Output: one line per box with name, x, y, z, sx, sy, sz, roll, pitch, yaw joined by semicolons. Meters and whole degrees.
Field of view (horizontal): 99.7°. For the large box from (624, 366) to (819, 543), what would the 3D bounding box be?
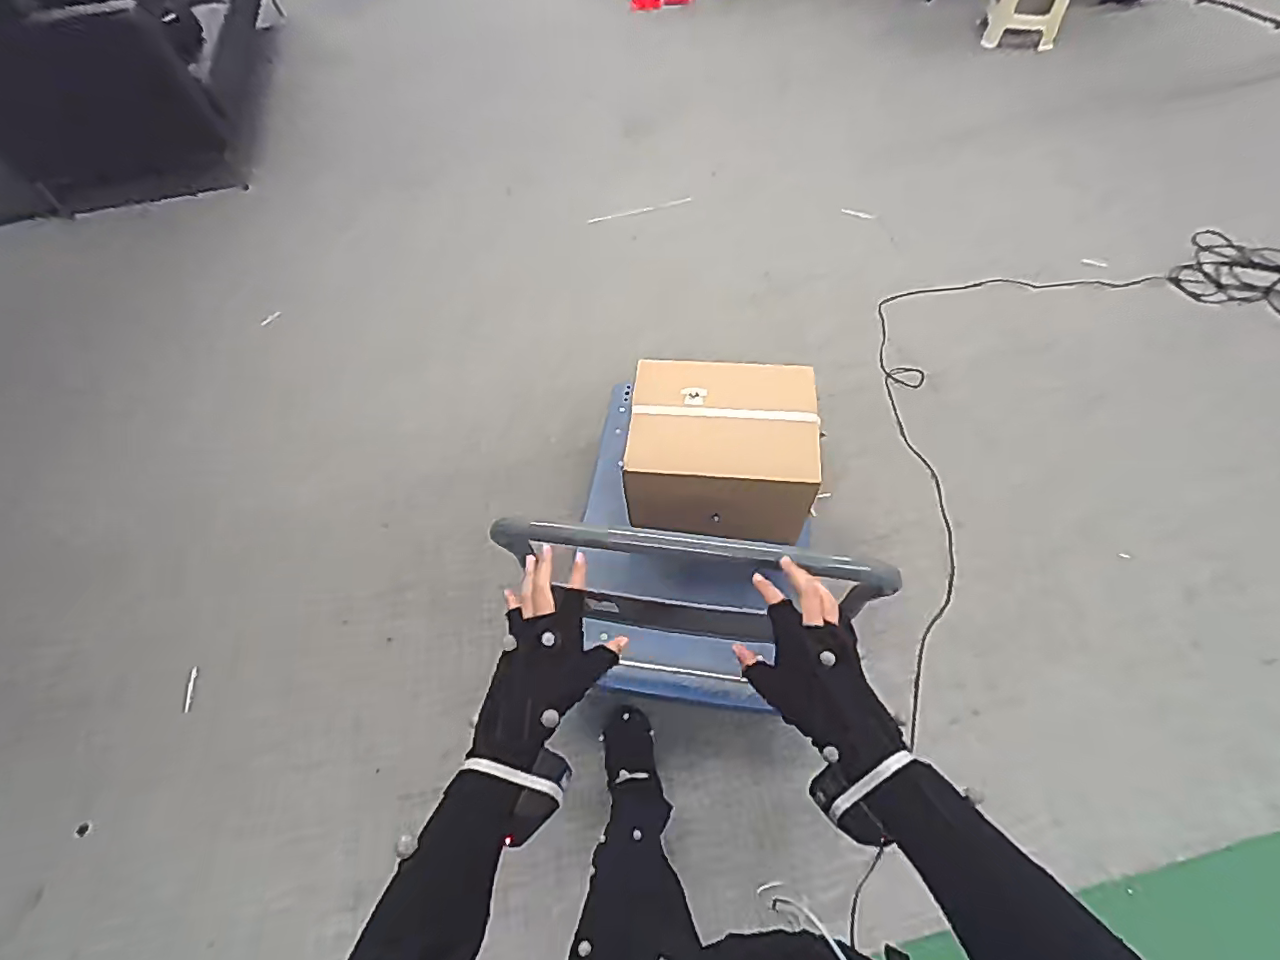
large box;0.191;-0.056;1.303;0.408;0.320;0.320;3;58;8
